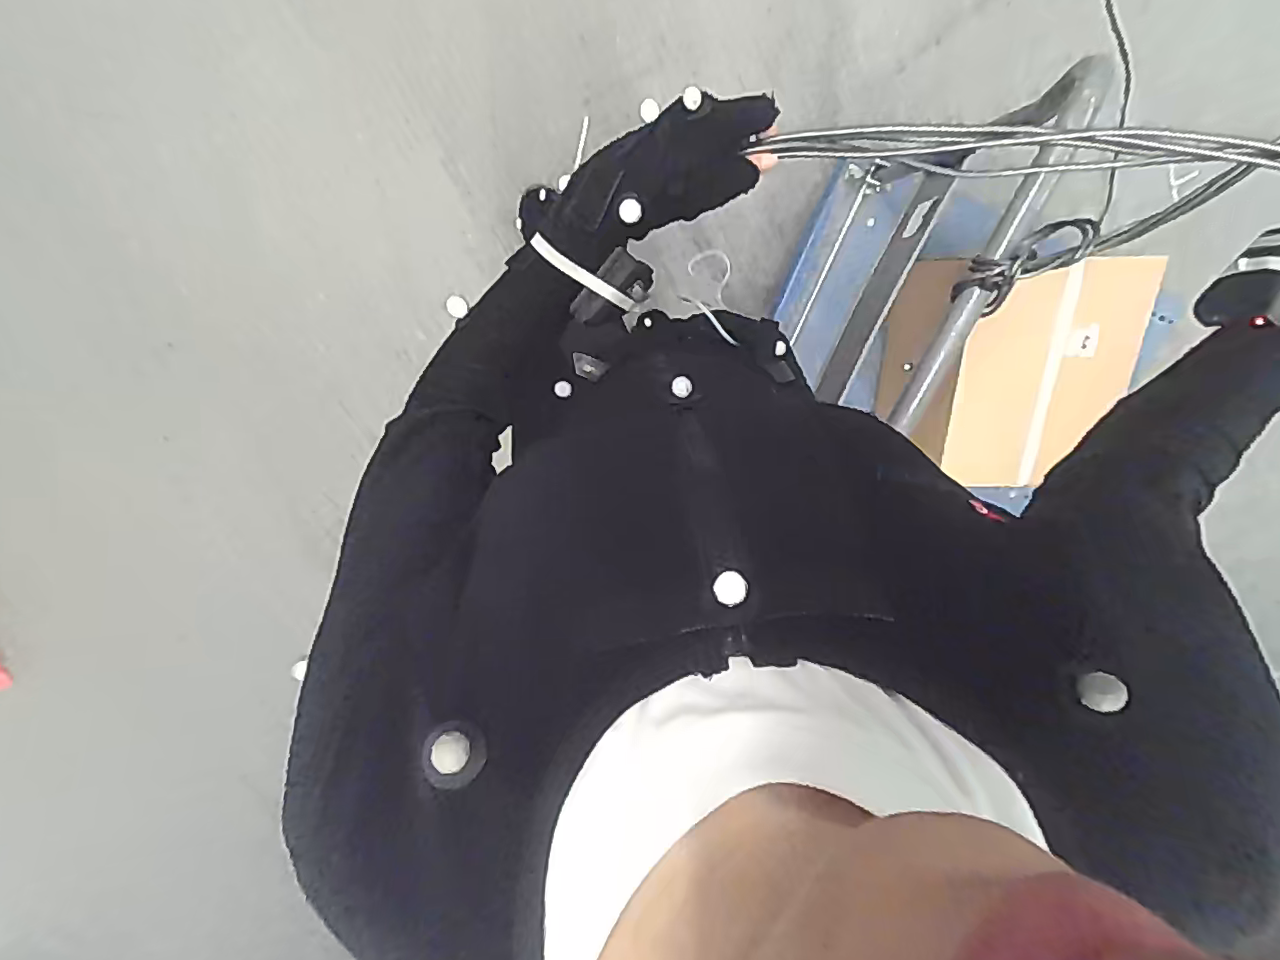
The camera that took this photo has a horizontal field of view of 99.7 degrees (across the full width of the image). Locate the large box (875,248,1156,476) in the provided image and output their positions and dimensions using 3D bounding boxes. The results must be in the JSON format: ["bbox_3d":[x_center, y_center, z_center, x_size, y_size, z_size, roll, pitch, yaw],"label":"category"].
[{"bbox_3d":[0.713,-0.247,1.107,0.320,0.320,0.408,-1,111,-1],"label":"large box"}]
